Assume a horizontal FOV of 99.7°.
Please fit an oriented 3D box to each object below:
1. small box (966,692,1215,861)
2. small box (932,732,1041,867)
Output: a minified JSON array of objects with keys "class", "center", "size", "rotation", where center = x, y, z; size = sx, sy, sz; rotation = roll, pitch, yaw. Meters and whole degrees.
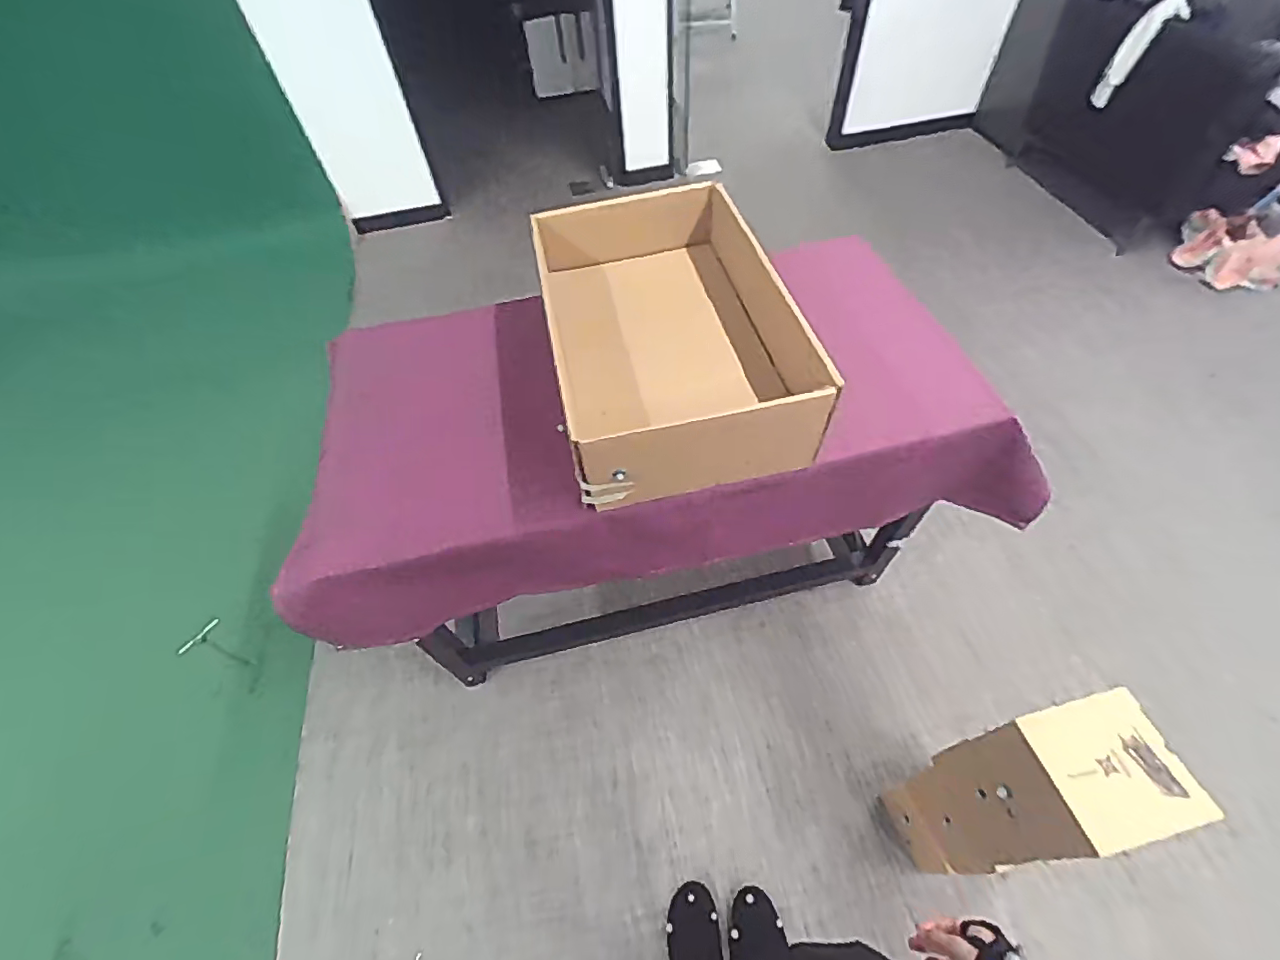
[{"class":"small box","center":[0.618,0.425,0.773],"size":[0.179,0.176,0.168],"rotation":[-13,53,-5]},{"class":"small box","center":[0.629,0.524,0.904],"size":[0.168,0.176,0.179],"rotation":[-12,54,-4]}]
